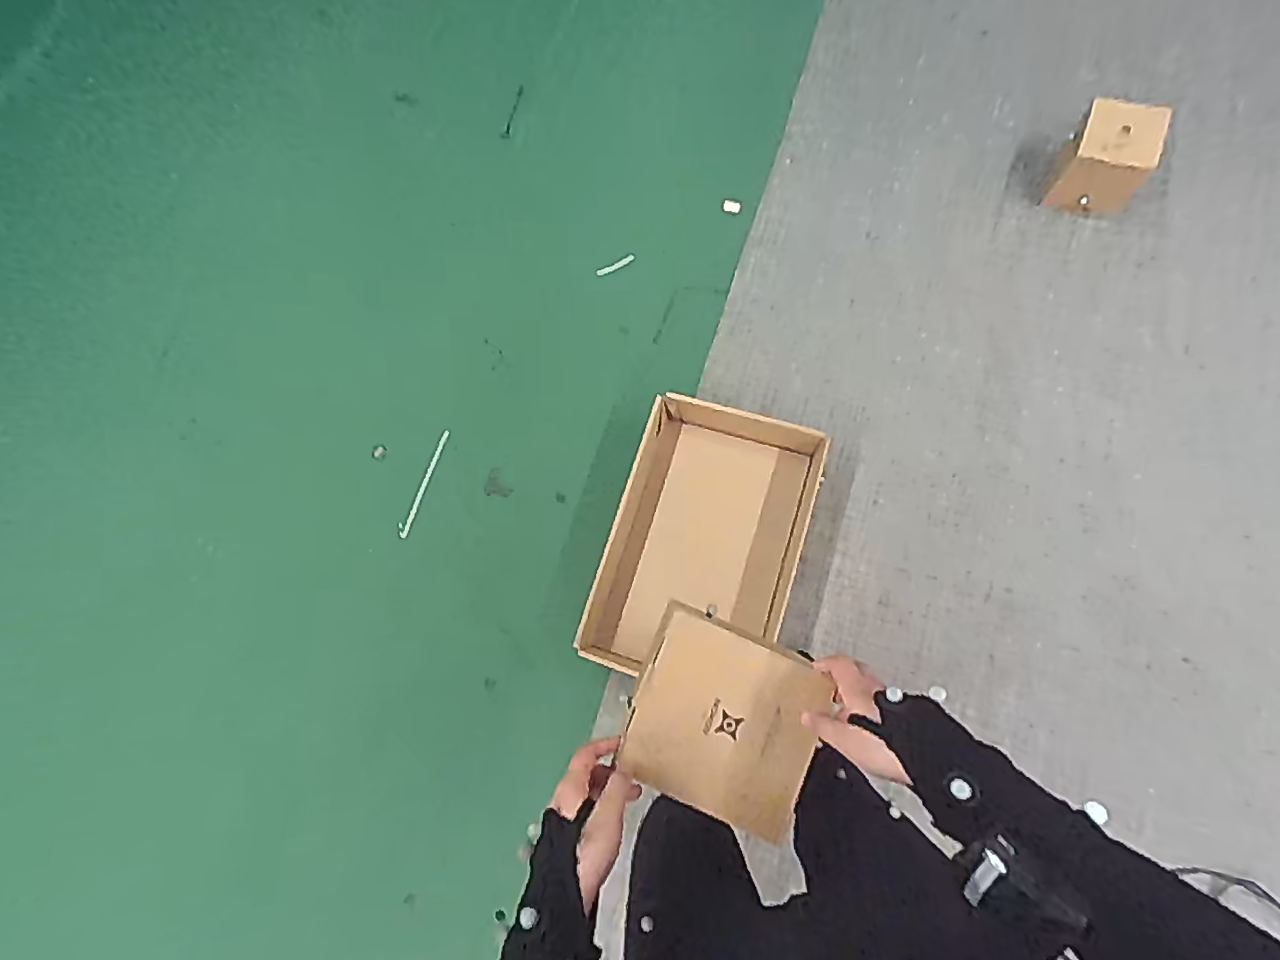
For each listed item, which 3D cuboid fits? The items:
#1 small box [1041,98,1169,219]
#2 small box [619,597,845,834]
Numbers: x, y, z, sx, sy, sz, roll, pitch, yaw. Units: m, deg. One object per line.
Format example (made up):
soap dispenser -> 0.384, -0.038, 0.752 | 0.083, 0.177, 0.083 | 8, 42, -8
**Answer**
small box -> 1.141, -0.791, 1.340 | 0.168, 0.176, 0.179 | 21, 80, 14
small box -> 0.091, 0.237, 0.597 | 0.179, 0.176, 0.168 | 22, 83, 4
